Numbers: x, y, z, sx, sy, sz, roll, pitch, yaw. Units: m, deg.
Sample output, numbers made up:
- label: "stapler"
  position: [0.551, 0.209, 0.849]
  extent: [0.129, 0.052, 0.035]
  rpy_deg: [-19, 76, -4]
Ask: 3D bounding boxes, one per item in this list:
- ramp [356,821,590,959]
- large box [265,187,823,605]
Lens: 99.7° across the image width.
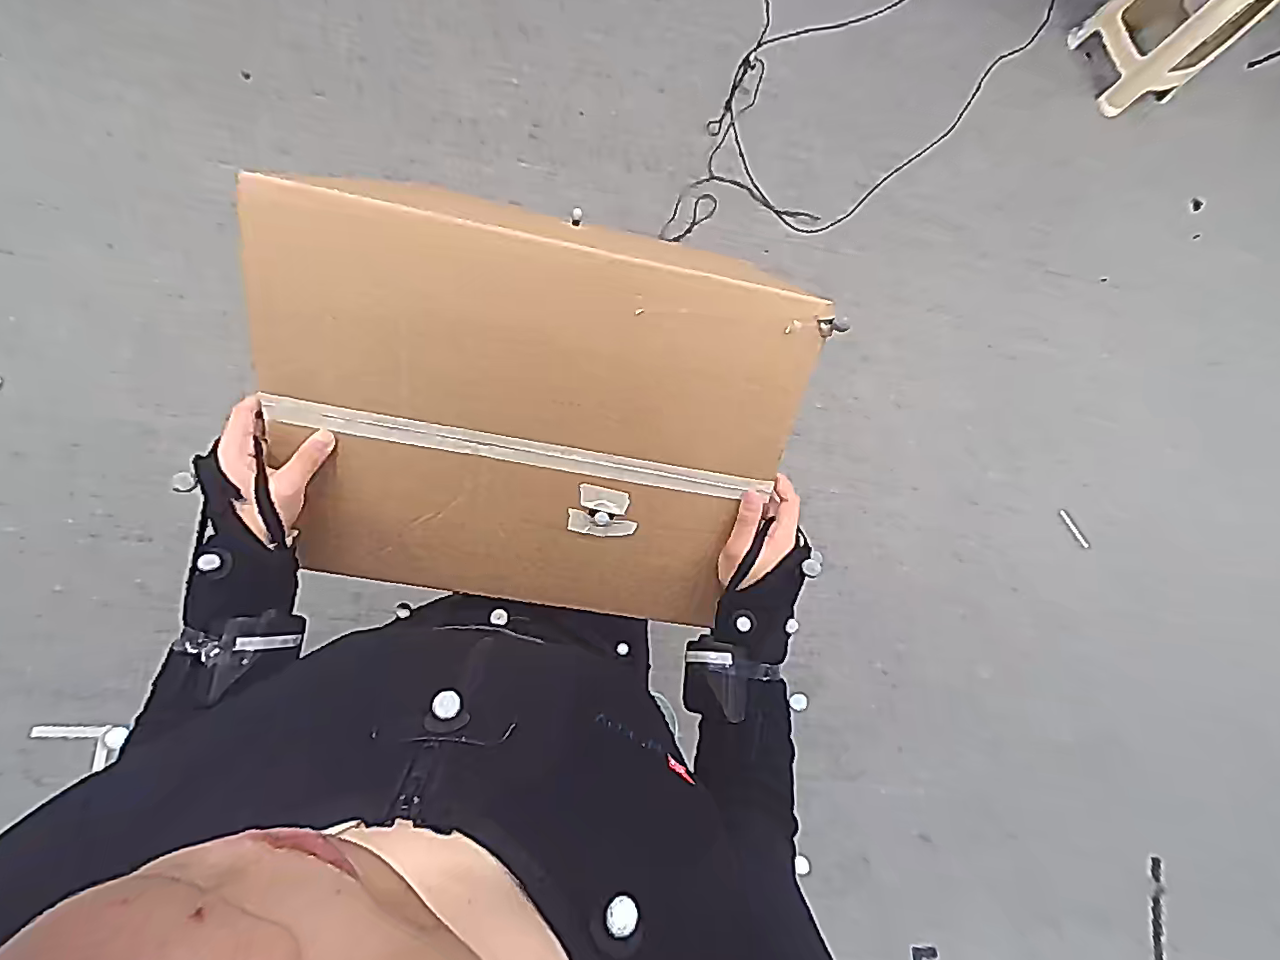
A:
- label: "ramp"
  position: [-0.389, 1.283, 1.118]
  extent: [0.509, 0.206, 0.991]
  rpy_deg: [5, 80, -8]
- label: "large box"
  position: [-0.091, -0.103, 0.580]
  extent: [0.408, 0.320, 0.320]
  rpy_deg: [9, 118, -8]
